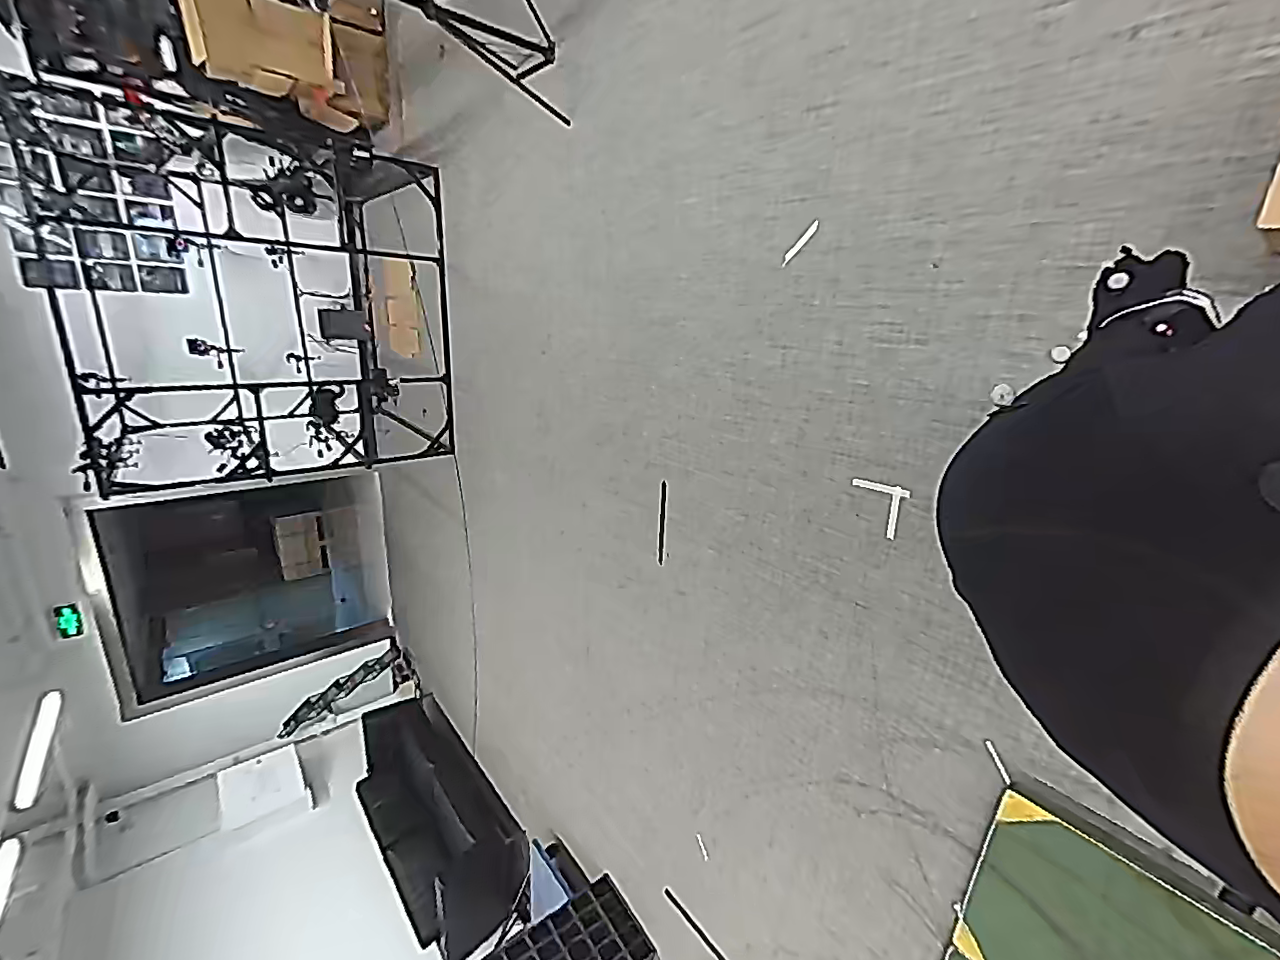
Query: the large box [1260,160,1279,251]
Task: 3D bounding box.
[{"bbox_3d":[1.145,-0.486,0.693,0.408,0.320,0.320,23,116,46],"label":"large box"}]
